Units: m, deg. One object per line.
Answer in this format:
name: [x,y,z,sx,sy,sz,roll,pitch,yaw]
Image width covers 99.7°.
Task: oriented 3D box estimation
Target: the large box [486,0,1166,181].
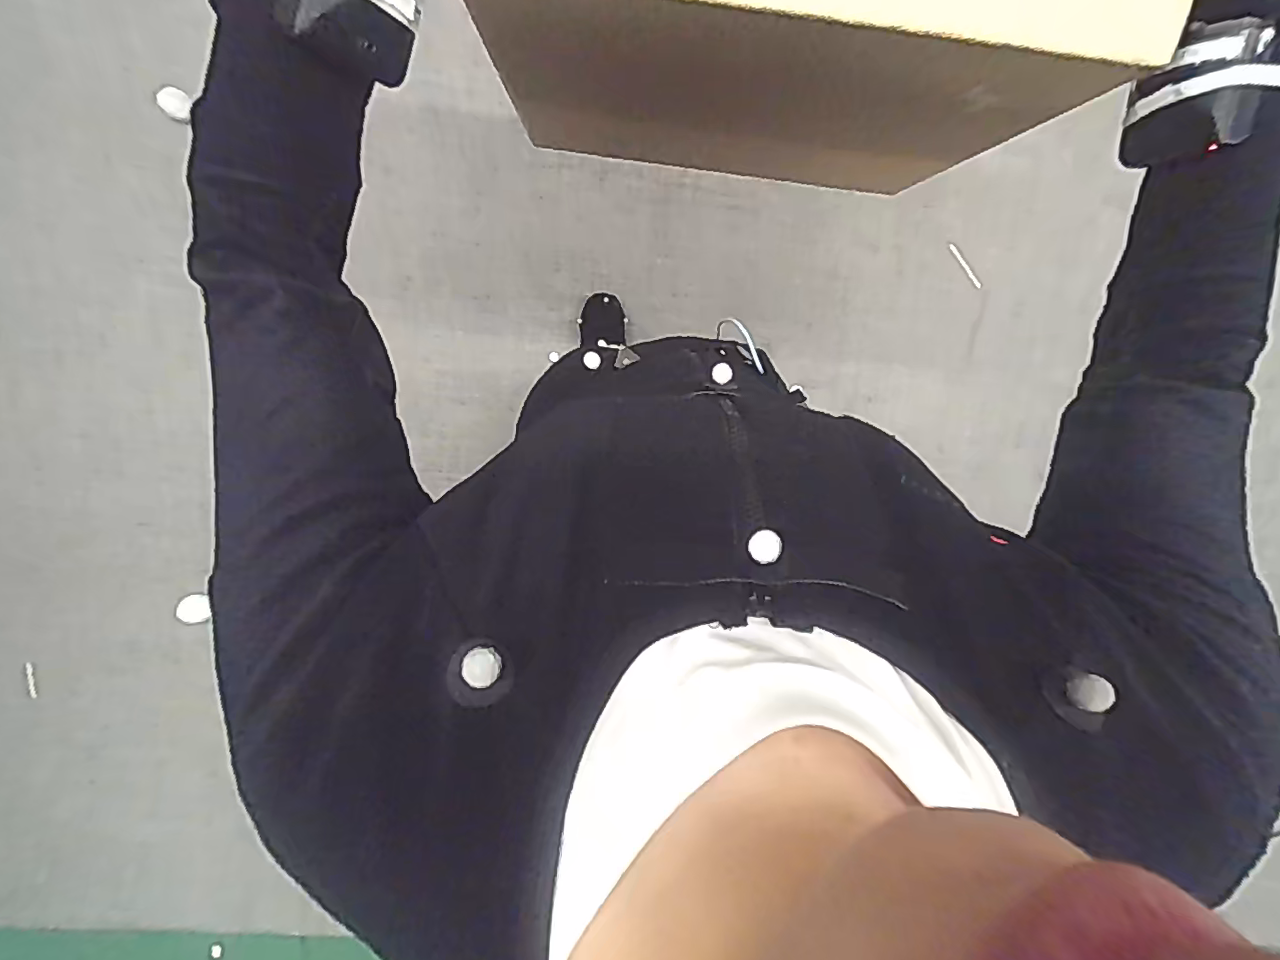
large box: [0.105,-0.450,0.404,0.408,0.320,0.320,5,106,-5]
